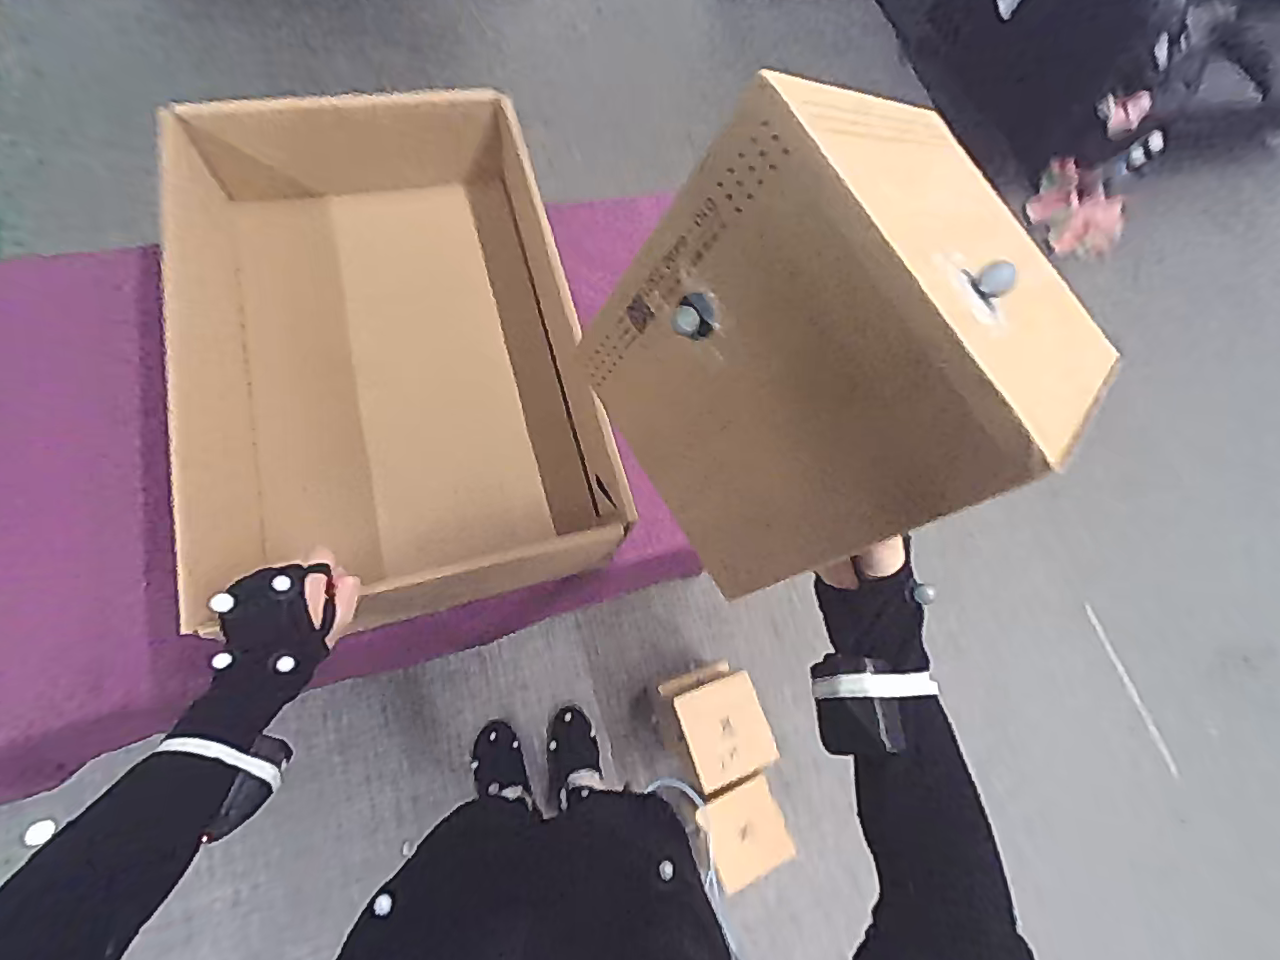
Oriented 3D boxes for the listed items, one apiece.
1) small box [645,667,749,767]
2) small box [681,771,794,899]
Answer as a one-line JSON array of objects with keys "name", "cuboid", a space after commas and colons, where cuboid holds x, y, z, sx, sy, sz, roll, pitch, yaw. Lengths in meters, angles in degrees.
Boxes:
[{"name": "small box", "cuboid": [0.128, 0.551, 1.280, 0.179, 0.176, 0.168, -15, 73, -14]}, {"name": "small box", "cuboid": [0.206, 0.780, 1.209, 0.179, 0.176, 0.168, -19, 74, -17]}]
